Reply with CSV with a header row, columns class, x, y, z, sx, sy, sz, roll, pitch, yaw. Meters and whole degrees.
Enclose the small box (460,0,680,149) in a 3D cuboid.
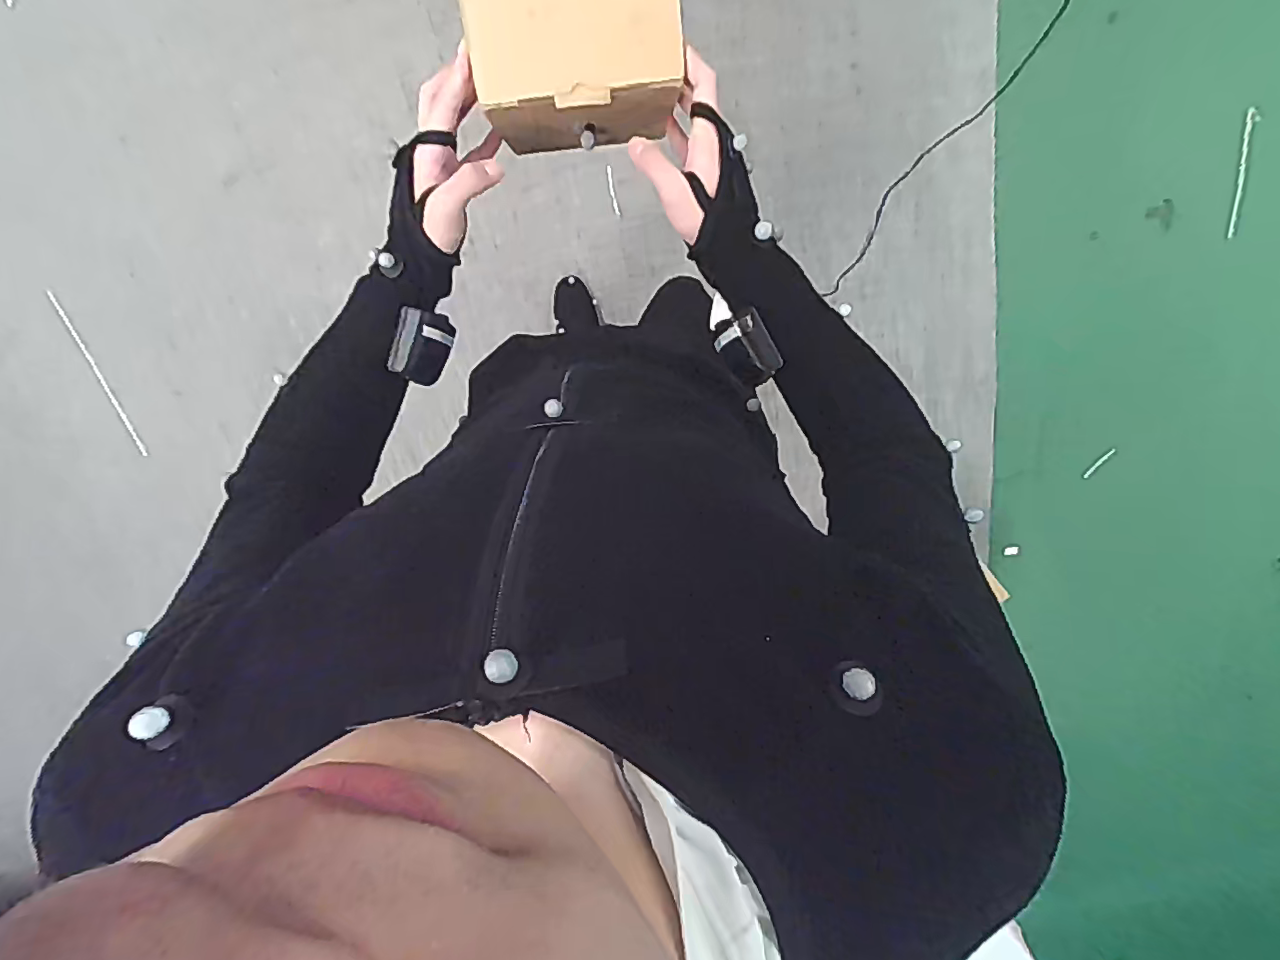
class,x,y,z,sx,sy,sz,roll,pitch,yaw
small box,-0.059,-0.406,0.474,0.168,0.176,0.179,-7,111,-1
